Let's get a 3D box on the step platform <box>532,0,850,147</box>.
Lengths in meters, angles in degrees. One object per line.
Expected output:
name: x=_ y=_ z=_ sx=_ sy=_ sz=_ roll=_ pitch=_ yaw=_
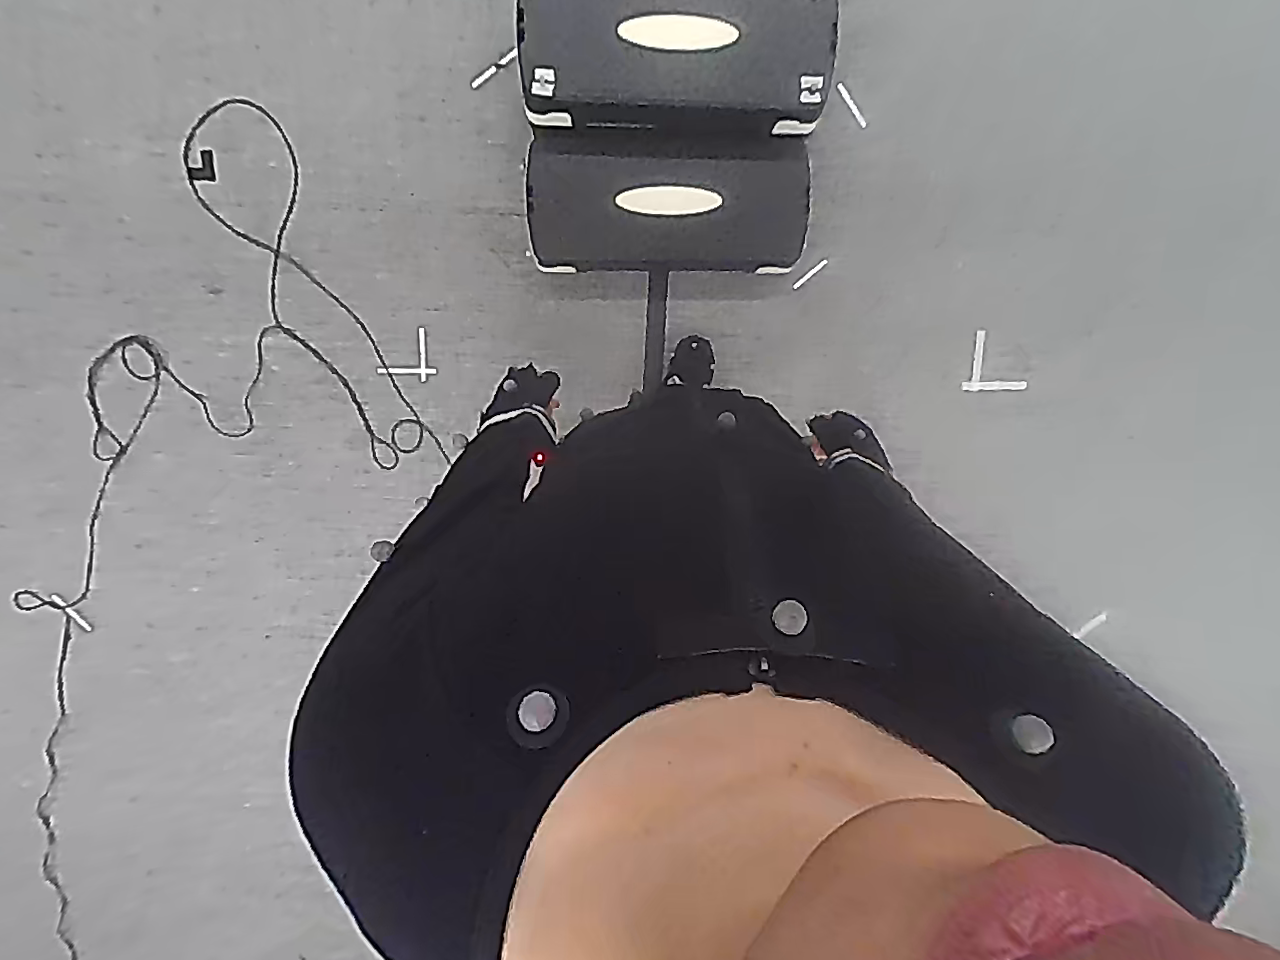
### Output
step platform: x=0.105 y=-0.940 z=1.204 sx=0.684 sy=0.204 sz=0.286 roll=0 pitch=101 yaw=-2
